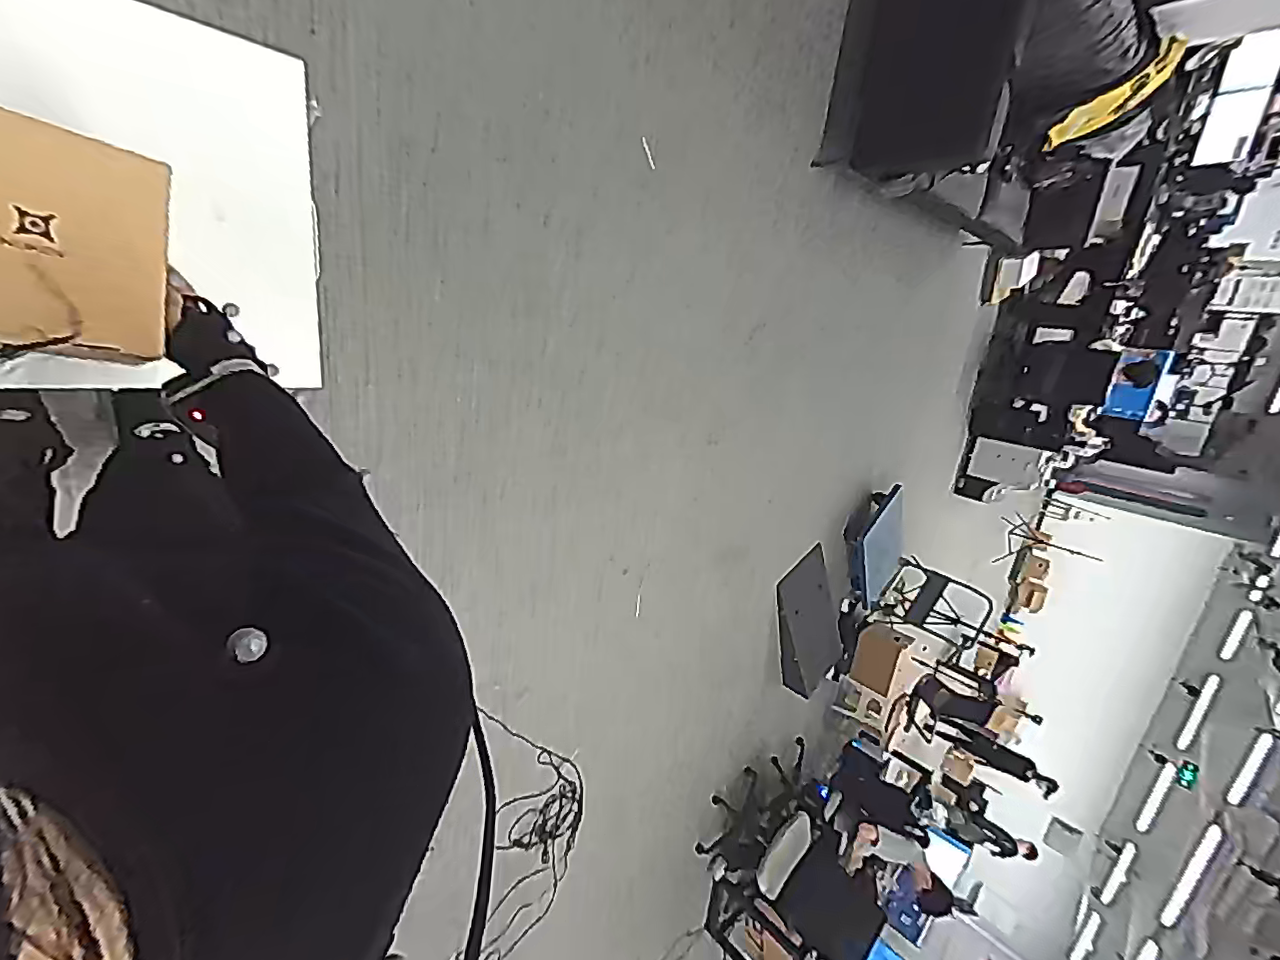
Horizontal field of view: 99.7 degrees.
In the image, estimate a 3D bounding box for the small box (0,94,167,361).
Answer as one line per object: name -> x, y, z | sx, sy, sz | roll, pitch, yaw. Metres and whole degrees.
small box -> -0.536, -0.207, 0.464 | 0.168, 0.176, 0.179 | 2, 93, -50
